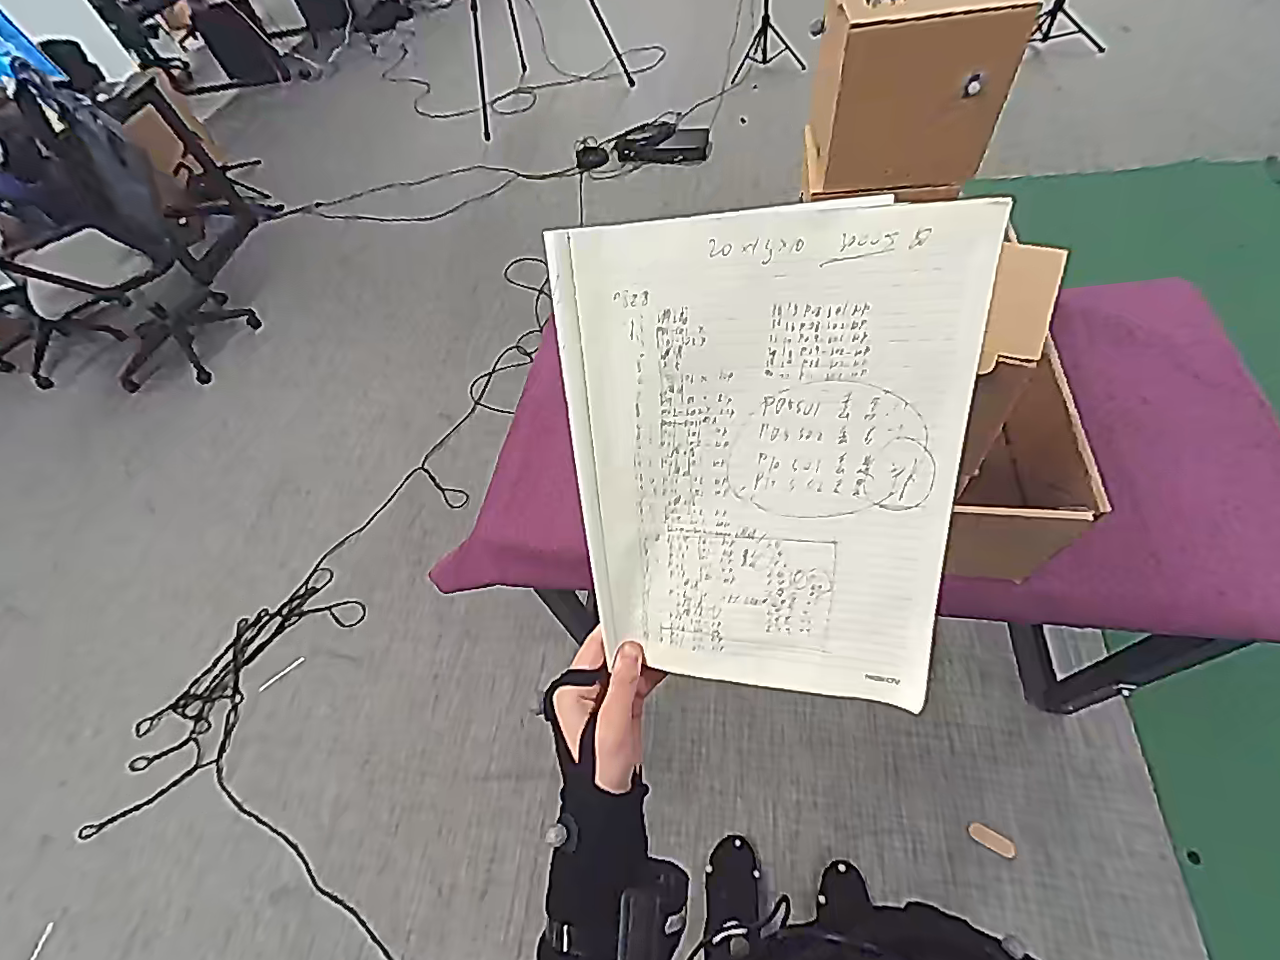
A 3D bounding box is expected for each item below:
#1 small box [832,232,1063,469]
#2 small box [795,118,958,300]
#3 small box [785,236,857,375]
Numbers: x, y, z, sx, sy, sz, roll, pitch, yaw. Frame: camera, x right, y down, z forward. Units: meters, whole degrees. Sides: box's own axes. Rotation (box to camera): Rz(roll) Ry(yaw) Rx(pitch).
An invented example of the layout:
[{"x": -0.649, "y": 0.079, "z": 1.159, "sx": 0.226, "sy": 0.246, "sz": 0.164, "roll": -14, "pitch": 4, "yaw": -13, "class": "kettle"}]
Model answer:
[{"x": 0.322, "y": -0.140, "z": 0.595, "sx": 0.168, "sy": 0.176, "sz": 0.179, "roll": 21, "pitch": 61, "yaw": 24, "class": "small box"}, {"x": 0.313, "y": -0.370, "z": 0.758, "sx": 0.179, "sy": 0.176, "sz": 0.168, "roll": 1, "pitch": 58, "yaw": 11, "class": "small box"}, {"x": 0.332, "y": -0.287, "z": 0.896, "sx": 0.168, "sy": 0.176, "sz": 0.179, "roll": 3, "pitch": 59, "yaw": 12, "class": "small box"}]
